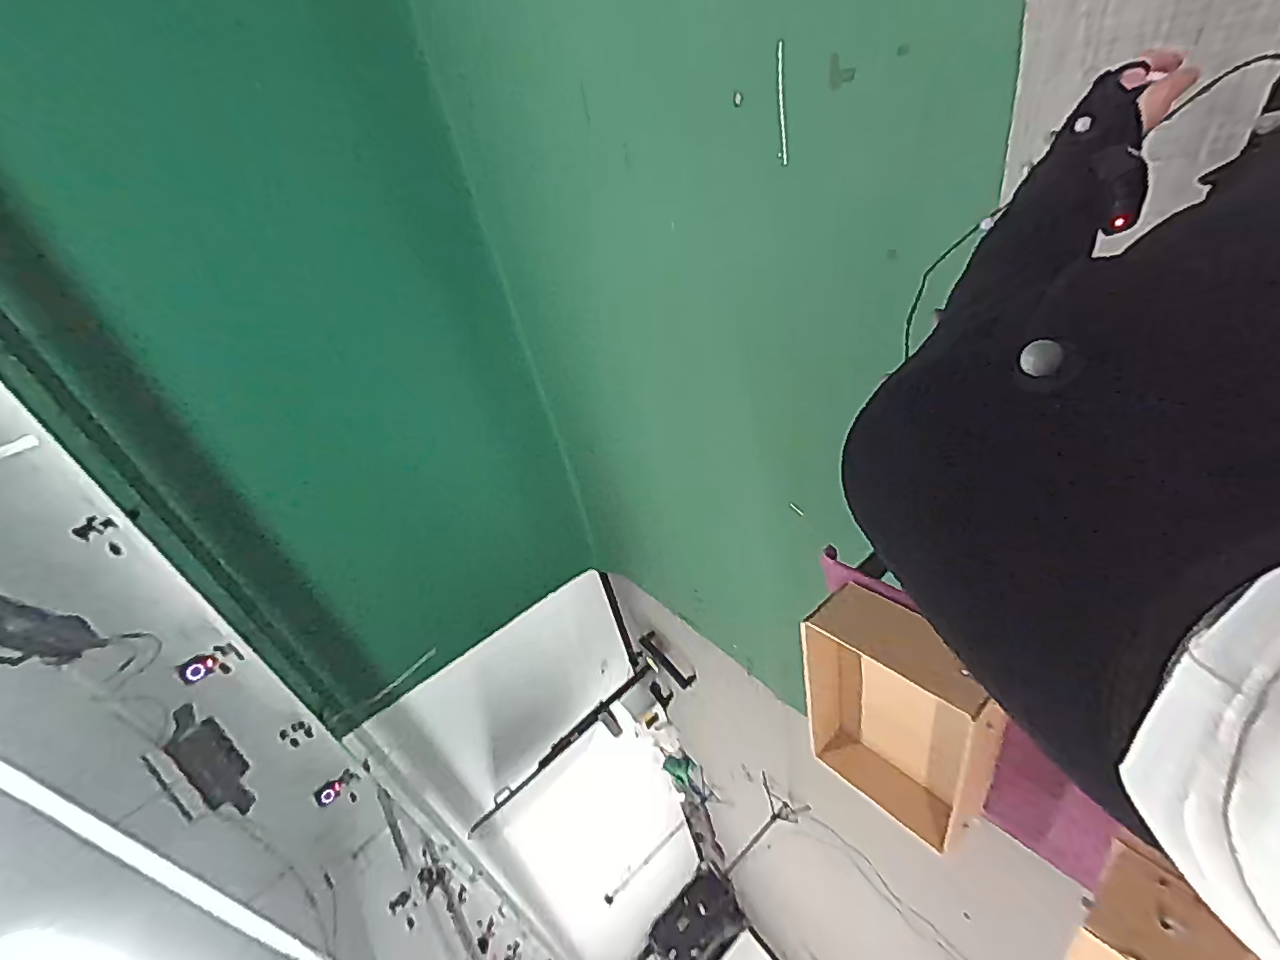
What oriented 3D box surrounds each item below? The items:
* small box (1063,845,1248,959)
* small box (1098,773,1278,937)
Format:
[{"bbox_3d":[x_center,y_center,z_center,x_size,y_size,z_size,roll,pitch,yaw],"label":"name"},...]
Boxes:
[{"bbox_3d":[0.832,0.749,0.879,0.168,0.176,0.179,26,140,48],"label":"small box"},{"bbox_3d":[0.954,0.664,0.947,0.179,0.176,0.168,24,140,48],"label":"small box"}]
